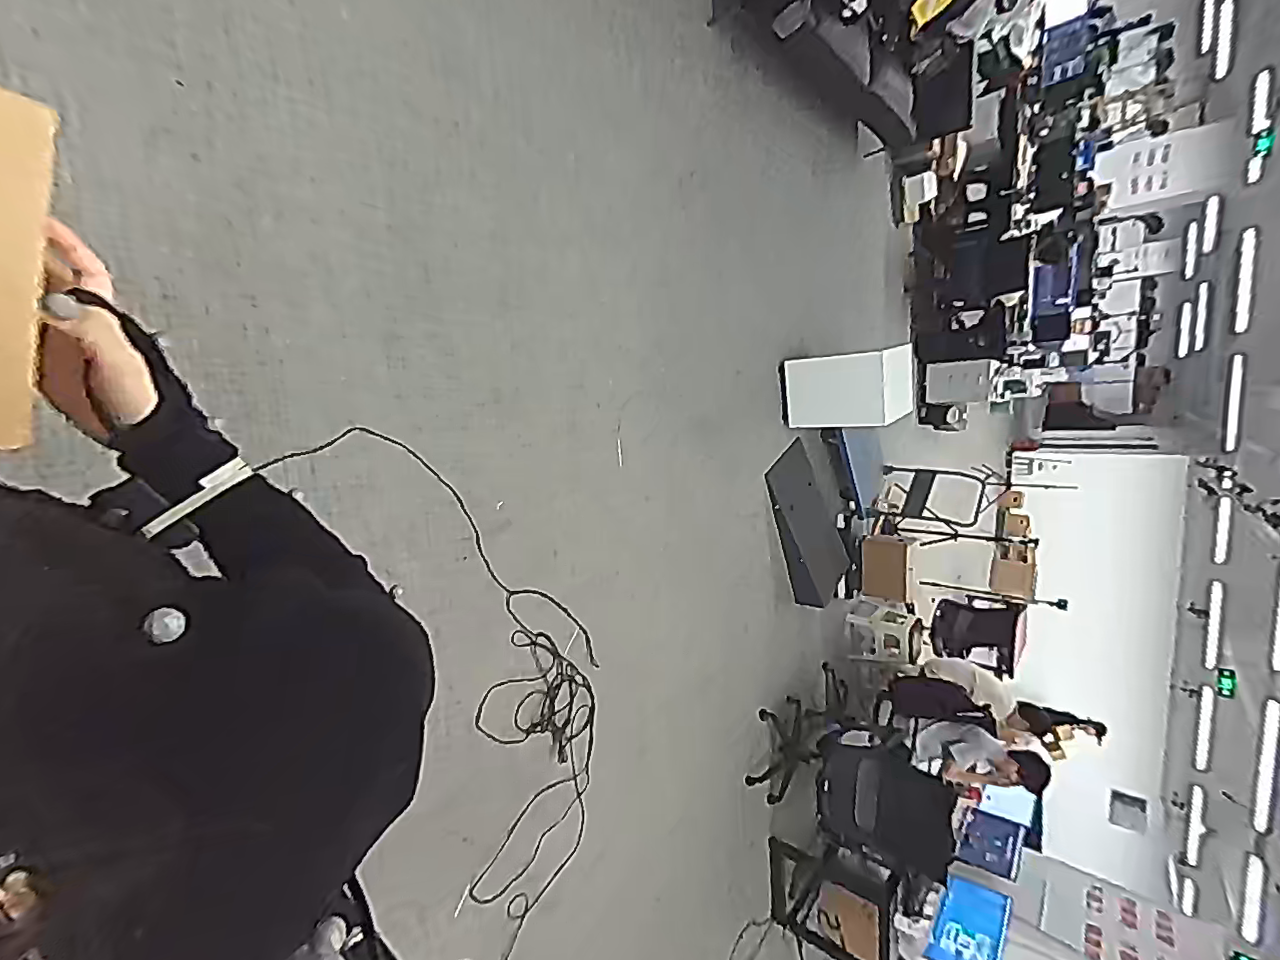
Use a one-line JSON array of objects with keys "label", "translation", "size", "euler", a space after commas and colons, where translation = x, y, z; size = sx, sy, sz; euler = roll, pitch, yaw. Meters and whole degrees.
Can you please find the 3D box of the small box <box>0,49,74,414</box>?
[{"label": "small box", "translation": [-0.418, -0.143, 0.262], "size": [0.168, 0.176, 0.179], "euler": [4, 102, -55]}]
